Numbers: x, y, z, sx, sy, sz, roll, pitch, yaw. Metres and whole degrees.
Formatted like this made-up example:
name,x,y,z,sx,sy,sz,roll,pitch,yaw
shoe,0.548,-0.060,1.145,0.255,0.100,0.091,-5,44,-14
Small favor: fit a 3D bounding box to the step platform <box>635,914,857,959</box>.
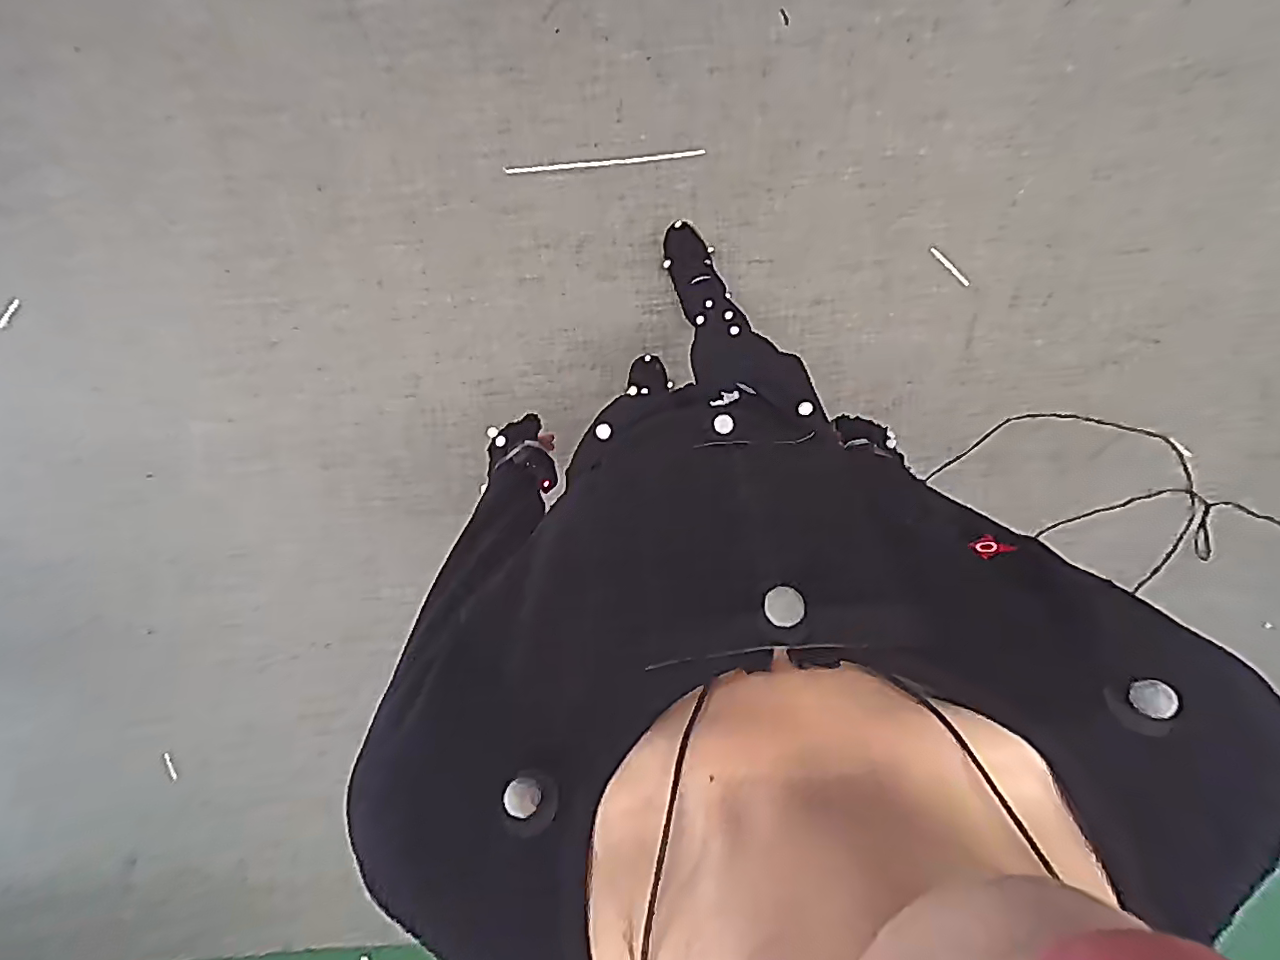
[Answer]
name,x,y,z,sx,sy,sz,roll,pitch,yaw
step platform,0.322,1.541,1.640,0.684,0.204,0.286,-6,105,-1
